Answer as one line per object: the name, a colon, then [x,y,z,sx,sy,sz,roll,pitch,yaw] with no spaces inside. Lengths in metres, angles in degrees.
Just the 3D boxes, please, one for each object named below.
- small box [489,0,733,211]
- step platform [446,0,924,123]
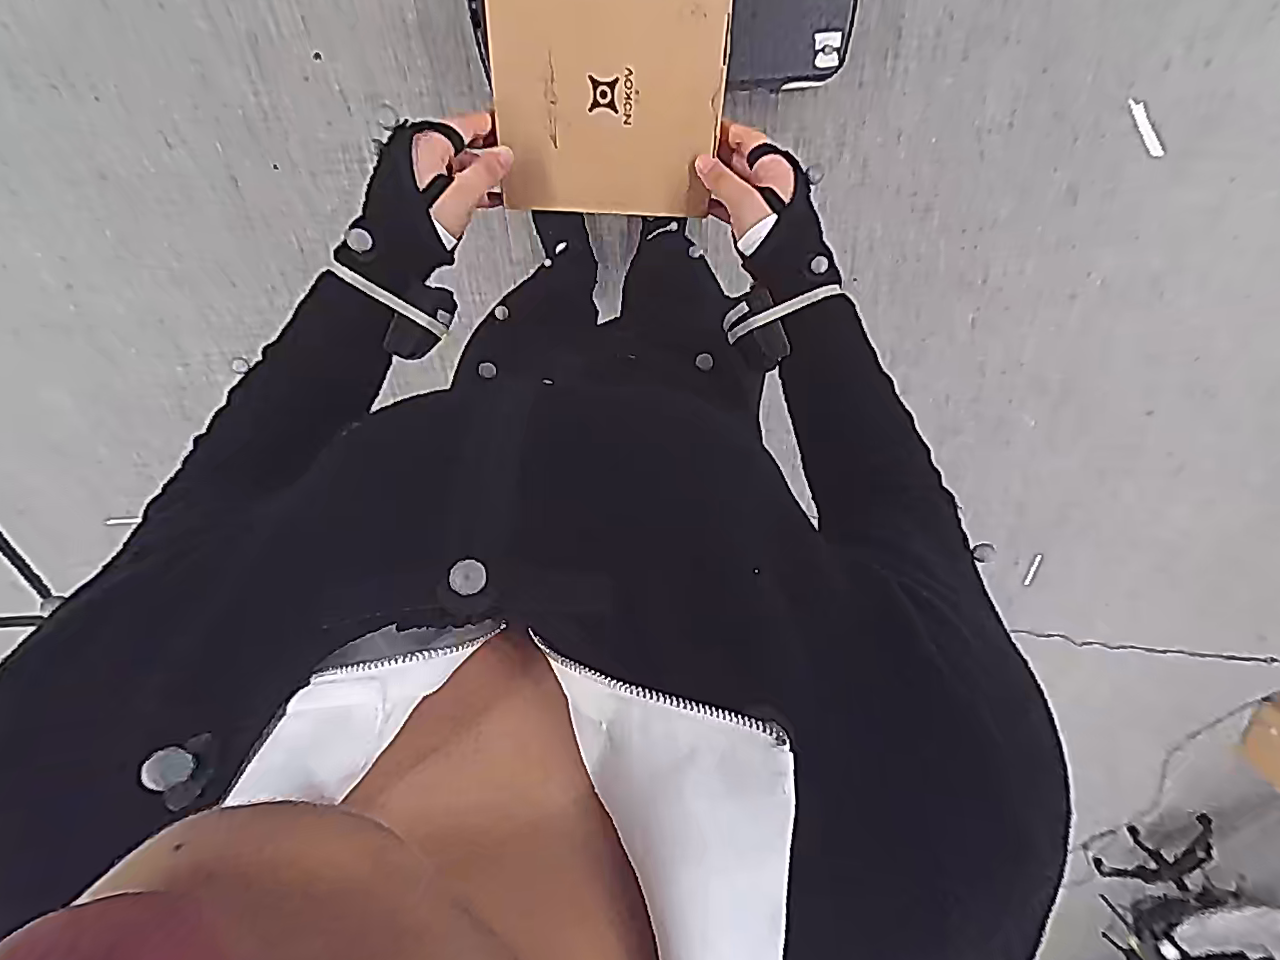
small box: [-0.027,-0.347,0.479,0.179,0.176,0.168,1,125,-4]
step platform: [0.060,-0.739,0.826,0.684,0.204,0.286,-5,122,-1]
